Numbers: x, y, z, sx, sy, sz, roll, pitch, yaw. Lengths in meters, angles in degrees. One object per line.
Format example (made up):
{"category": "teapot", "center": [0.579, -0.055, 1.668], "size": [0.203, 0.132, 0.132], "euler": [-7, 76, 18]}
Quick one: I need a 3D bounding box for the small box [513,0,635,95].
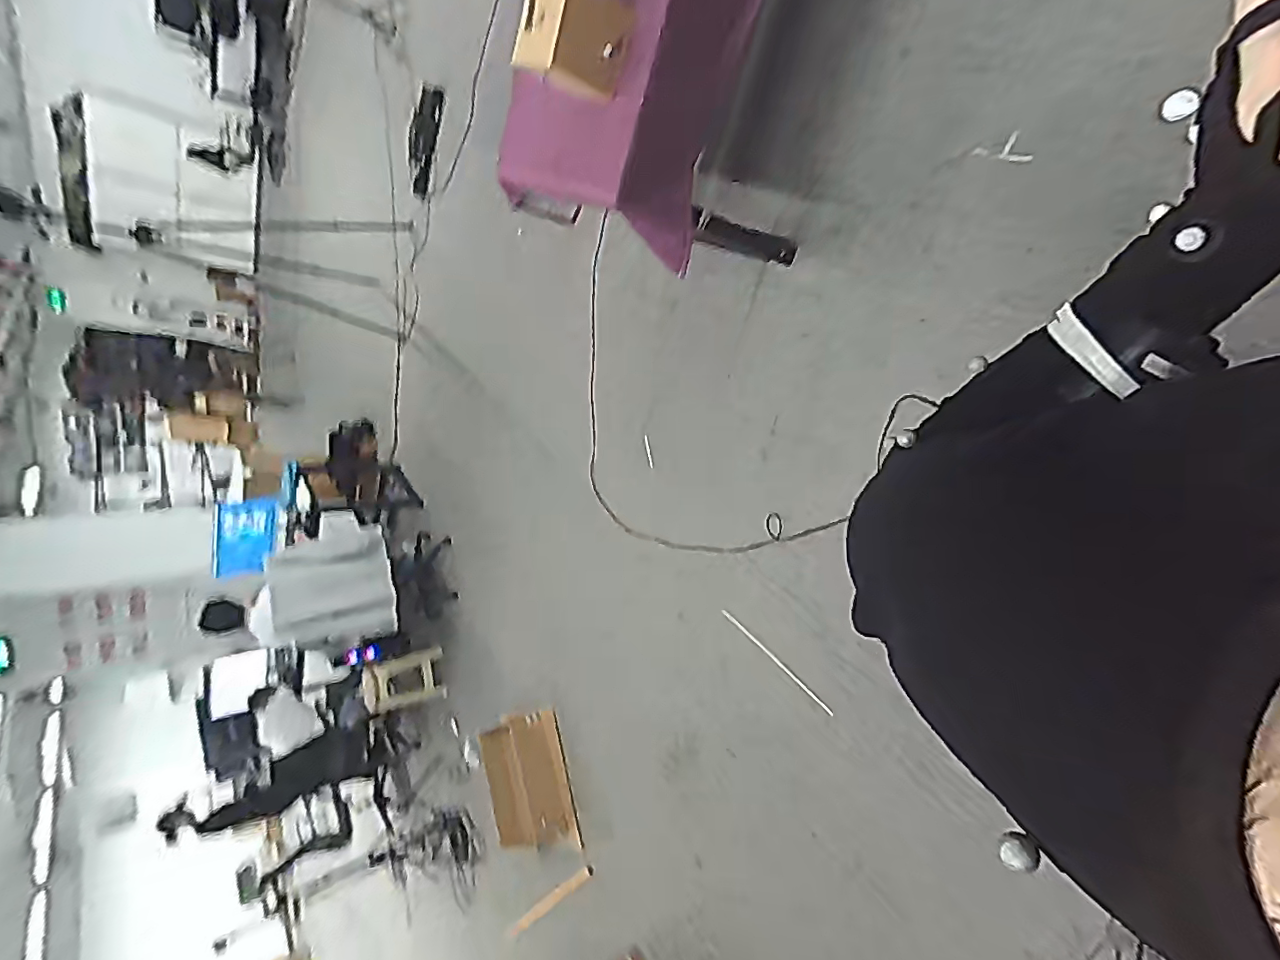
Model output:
{"category": "small box", "center": [-0.142, -0.958, 1.160], "size": [0.179, 0.176, 0.168], "euler": [41, 121, 37]}
